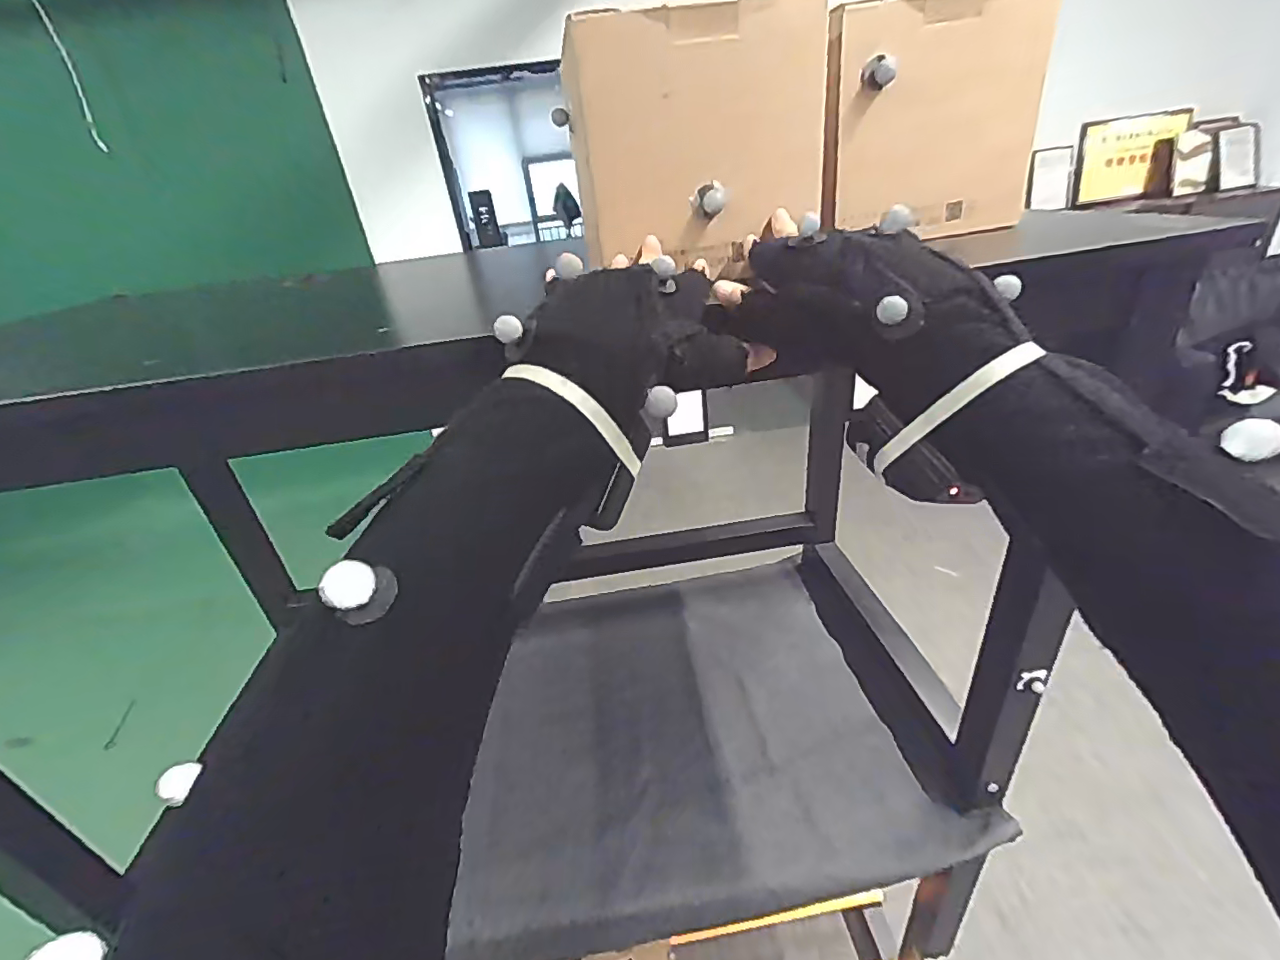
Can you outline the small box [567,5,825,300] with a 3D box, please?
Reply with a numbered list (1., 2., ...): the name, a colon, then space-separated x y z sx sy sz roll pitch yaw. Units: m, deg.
1. small box: 0.034 -0.254 0.447 0.168 0.176 0.179 -10 30 -4
